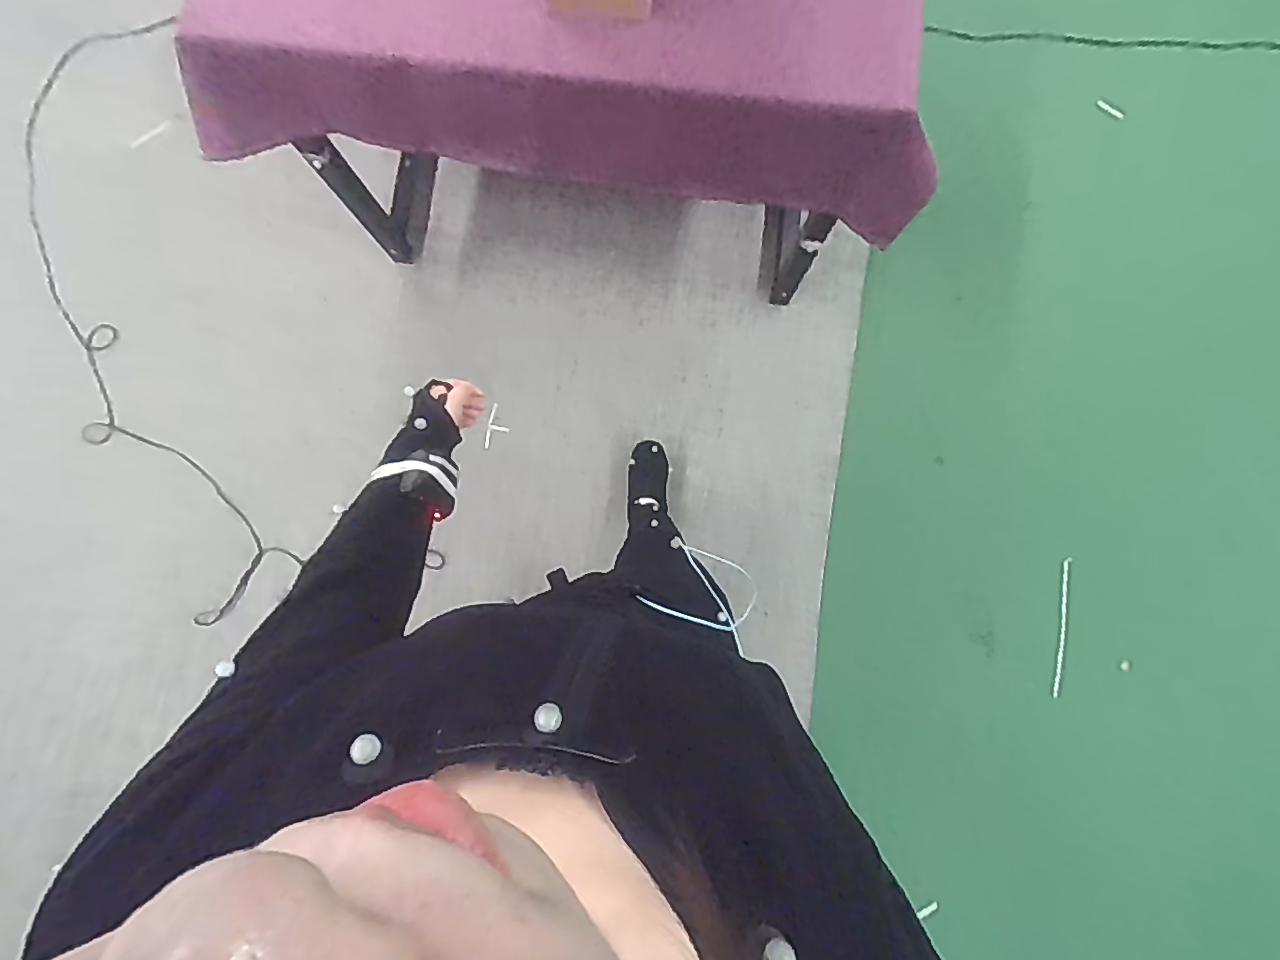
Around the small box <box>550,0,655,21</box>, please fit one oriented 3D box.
[{"bbox_3d":[-0.052,-0.847,0.817,0.179,0.176,0.168,7,82,1],"label":"small box"}]
